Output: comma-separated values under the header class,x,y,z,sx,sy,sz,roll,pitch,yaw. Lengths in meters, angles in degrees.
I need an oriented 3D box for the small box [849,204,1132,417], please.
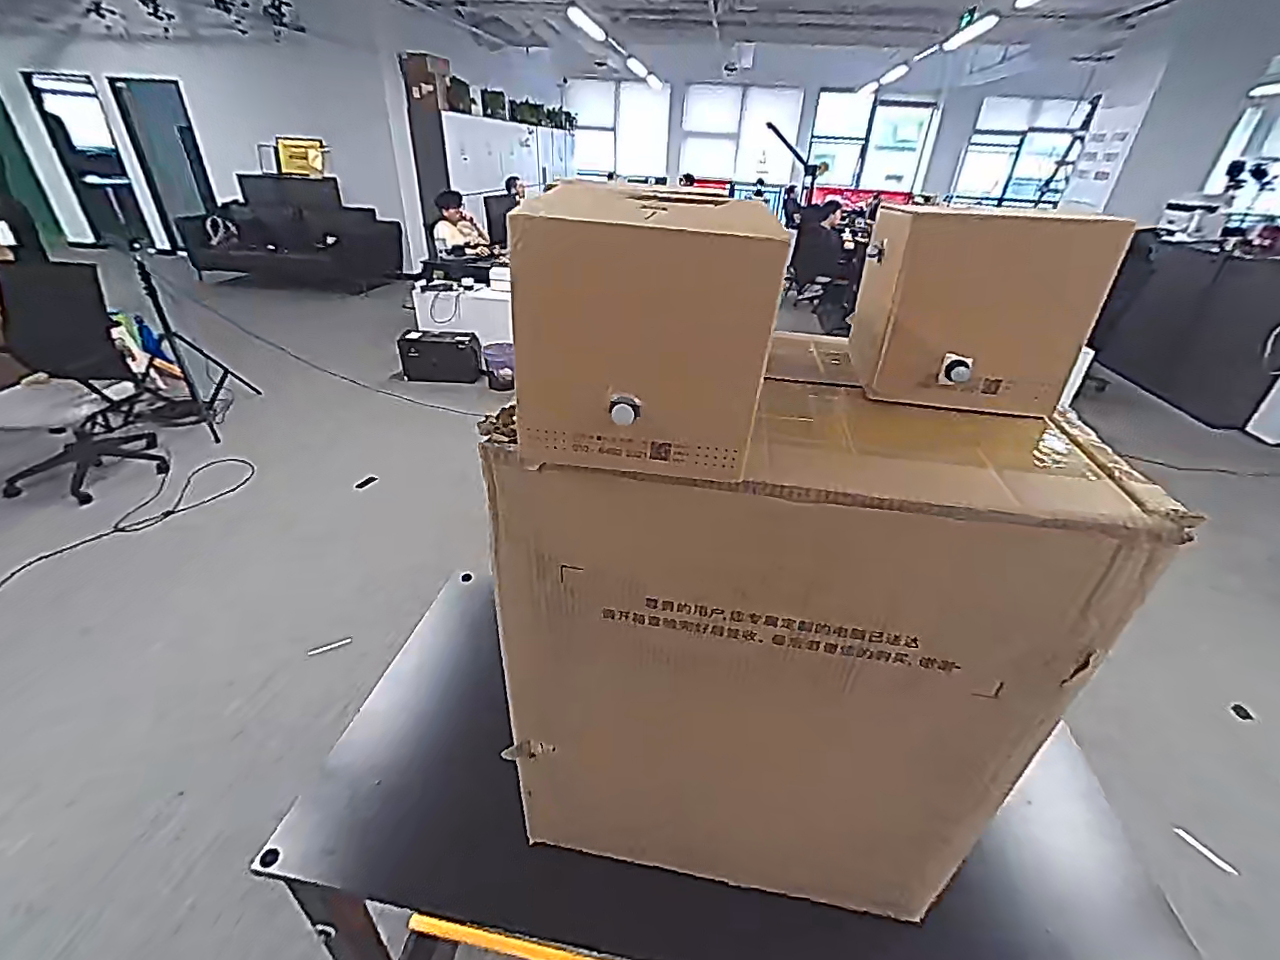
class,x,y,z,sx,sy,sz,roll,pitch,yaw
small box,0.318,-0.177,0.543,0.168,0.176,0.179,6,30,10
